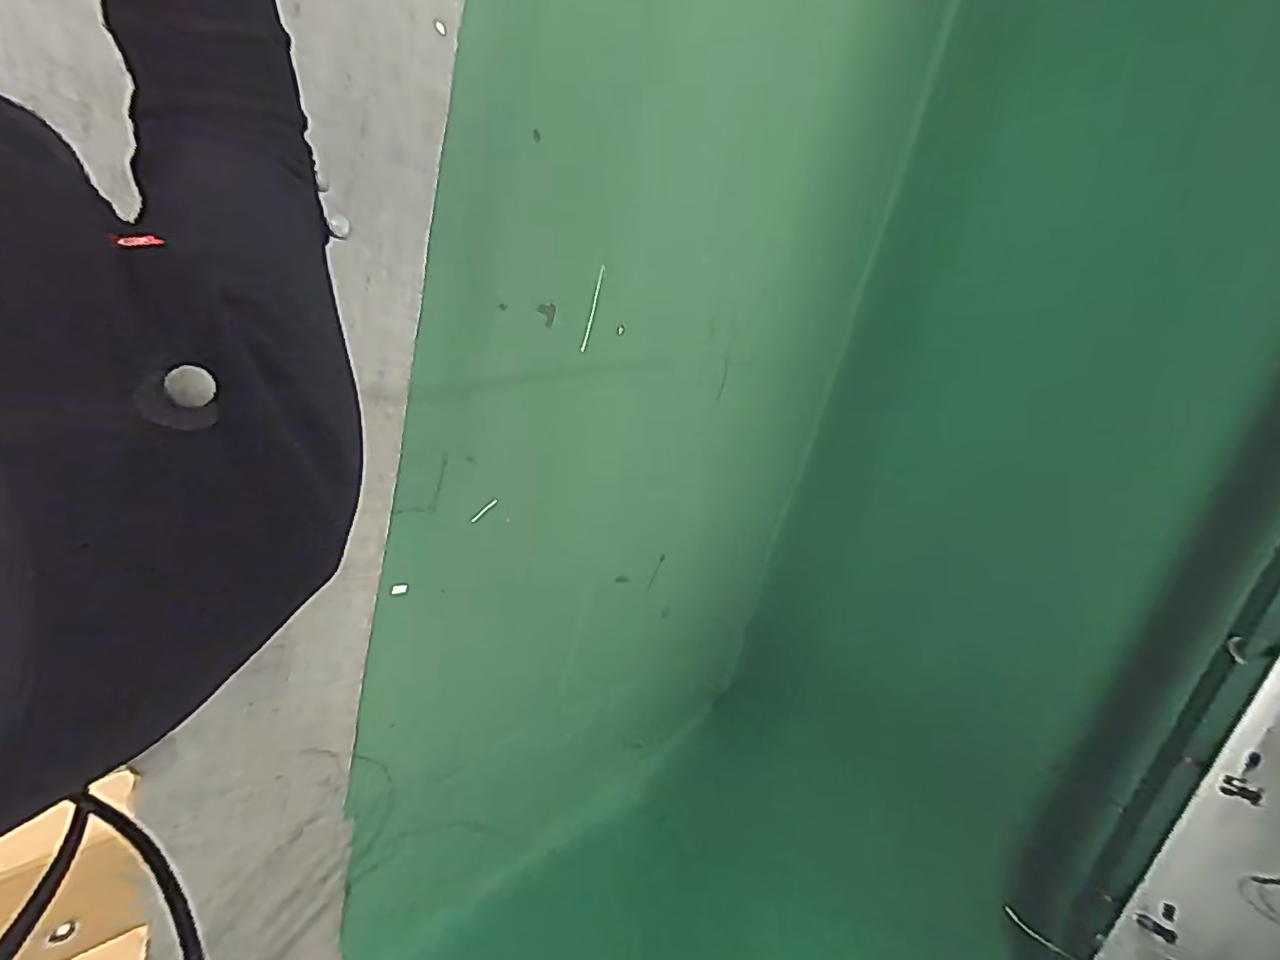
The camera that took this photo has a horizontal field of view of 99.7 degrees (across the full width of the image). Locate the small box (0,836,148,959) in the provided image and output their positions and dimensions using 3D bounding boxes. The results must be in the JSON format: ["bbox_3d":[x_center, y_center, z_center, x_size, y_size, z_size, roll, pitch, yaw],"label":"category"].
[{"bbox_3d":[-0.772,0.613,0.695,0.179,0.176,0.168,-2,109,-52],"label":"small box"}]
